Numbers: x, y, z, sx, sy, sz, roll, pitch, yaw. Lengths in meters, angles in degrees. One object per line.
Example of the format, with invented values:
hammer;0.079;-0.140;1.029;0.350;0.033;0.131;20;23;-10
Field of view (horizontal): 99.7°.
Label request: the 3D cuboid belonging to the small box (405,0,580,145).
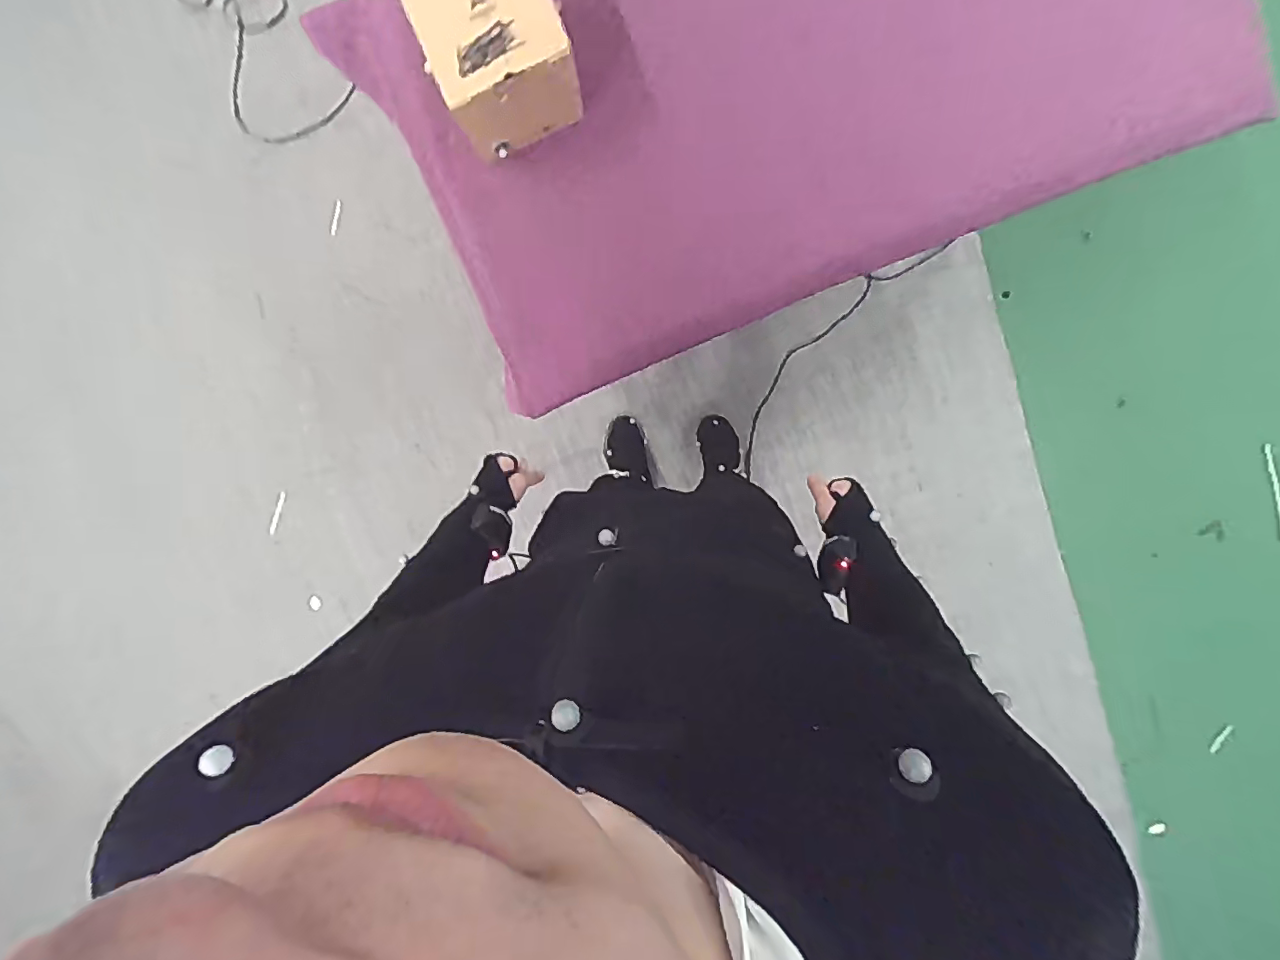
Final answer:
small box;-0.190;-0.579;0.712;0.168;0.176;0.179;-23;99;3
